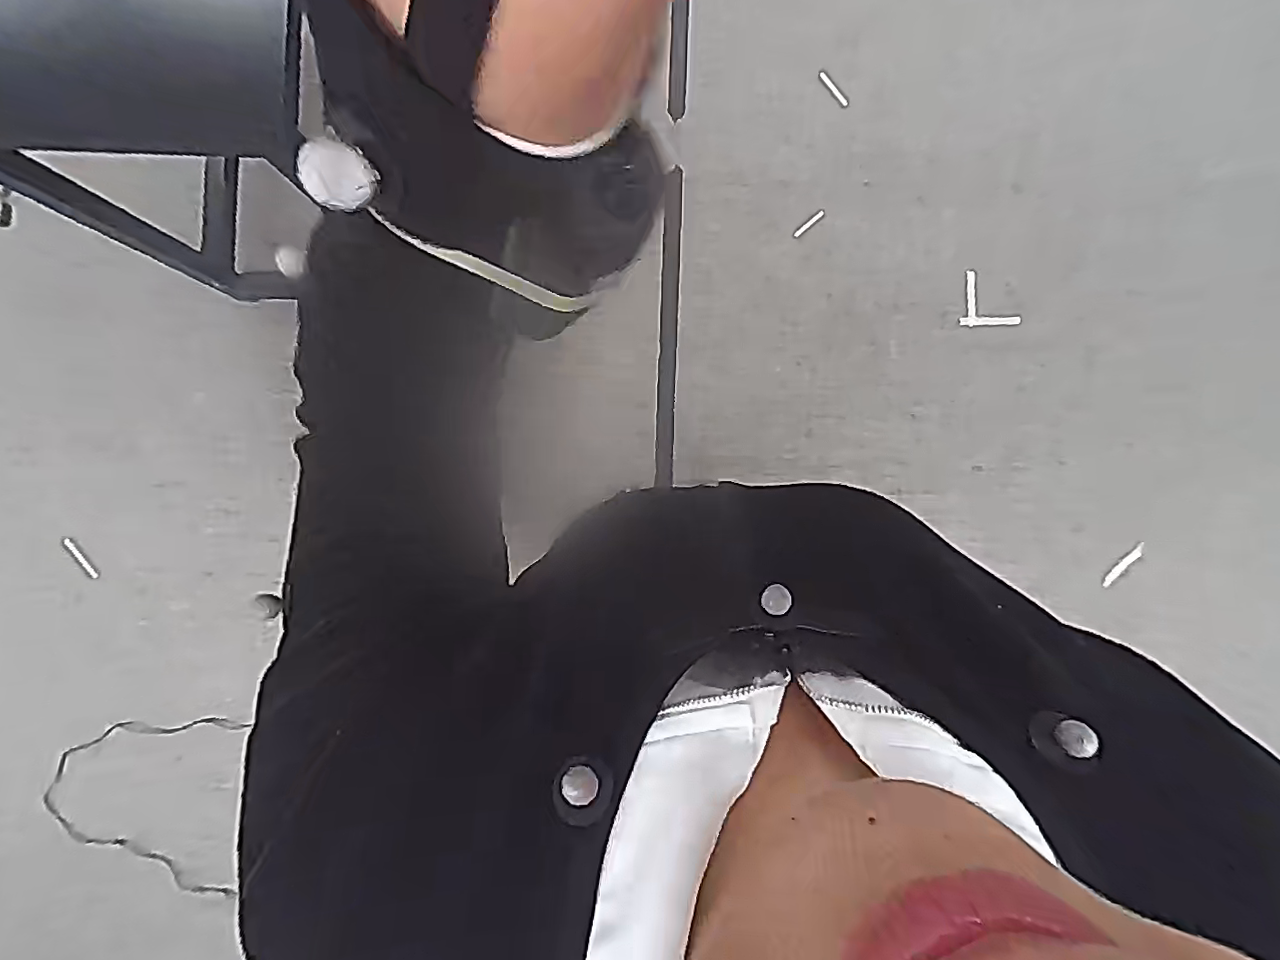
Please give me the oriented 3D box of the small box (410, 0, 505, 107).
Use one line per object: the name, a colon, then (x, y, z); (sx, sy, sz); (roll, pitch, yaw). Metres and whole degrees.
small box: (-0.476, -1.154, 1.446); (0.168, 0.176, 0.179); (22, 90, 0)
